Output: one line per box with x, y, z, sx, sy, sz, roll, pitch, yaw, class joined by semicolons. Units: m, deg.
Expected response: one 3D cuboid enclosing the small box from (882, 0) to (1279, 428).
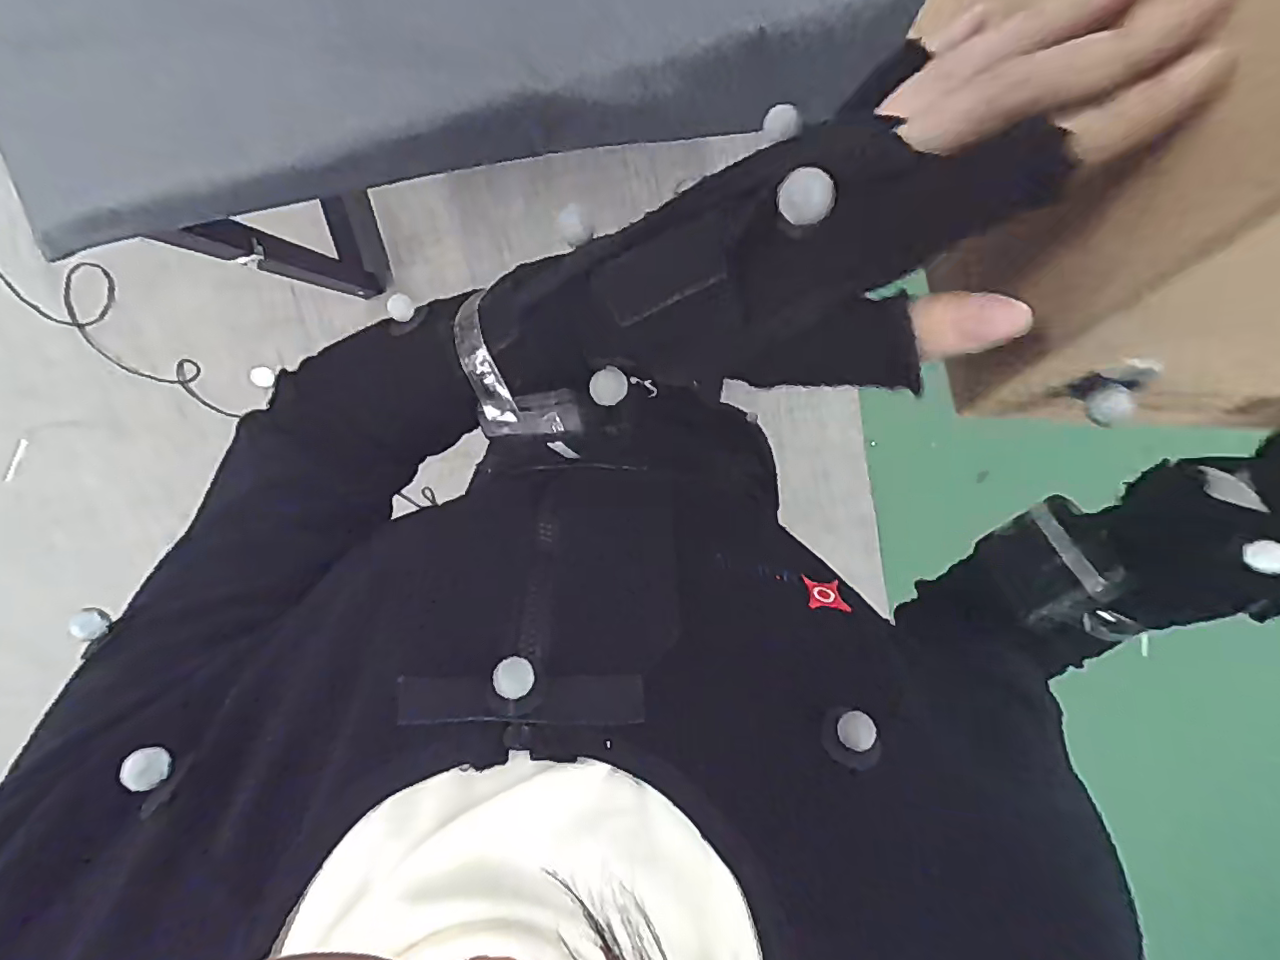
0.204;-0.127;0.168;0.168;0.176;0.179;2;71;-8;small box
